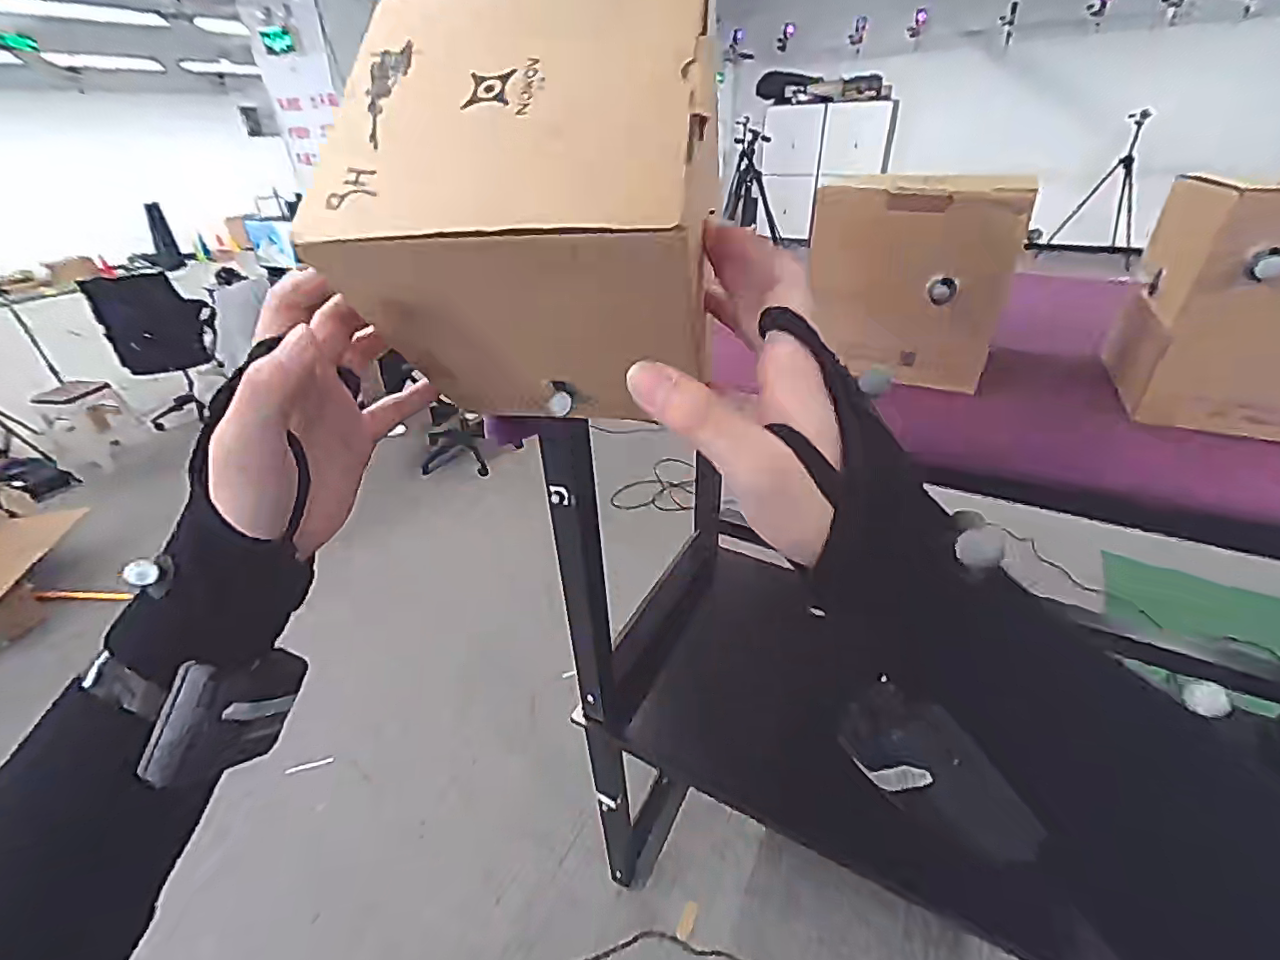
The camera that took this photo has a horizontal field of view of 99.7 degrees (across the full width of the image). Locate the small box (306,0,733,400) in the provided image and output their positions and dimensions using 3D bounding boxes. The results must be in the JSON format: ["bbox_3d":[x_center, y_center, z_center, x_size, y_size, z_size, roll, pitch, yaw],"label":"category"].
[{"bbox_3d":[-0.041,-0.158,0.320,0.179,0.176,0.168,4,70,9],"label":"small box"}]

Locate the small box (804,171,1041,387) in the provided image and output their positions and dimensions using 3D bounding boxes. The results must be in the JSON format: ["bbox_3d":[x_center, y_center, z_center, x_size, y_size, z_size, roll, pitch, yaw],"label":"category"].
[{"bbox_3d":[0.272,-0.205,0.536,0.168,0.176,0.179,18,36,27],"label":"small box"}]
